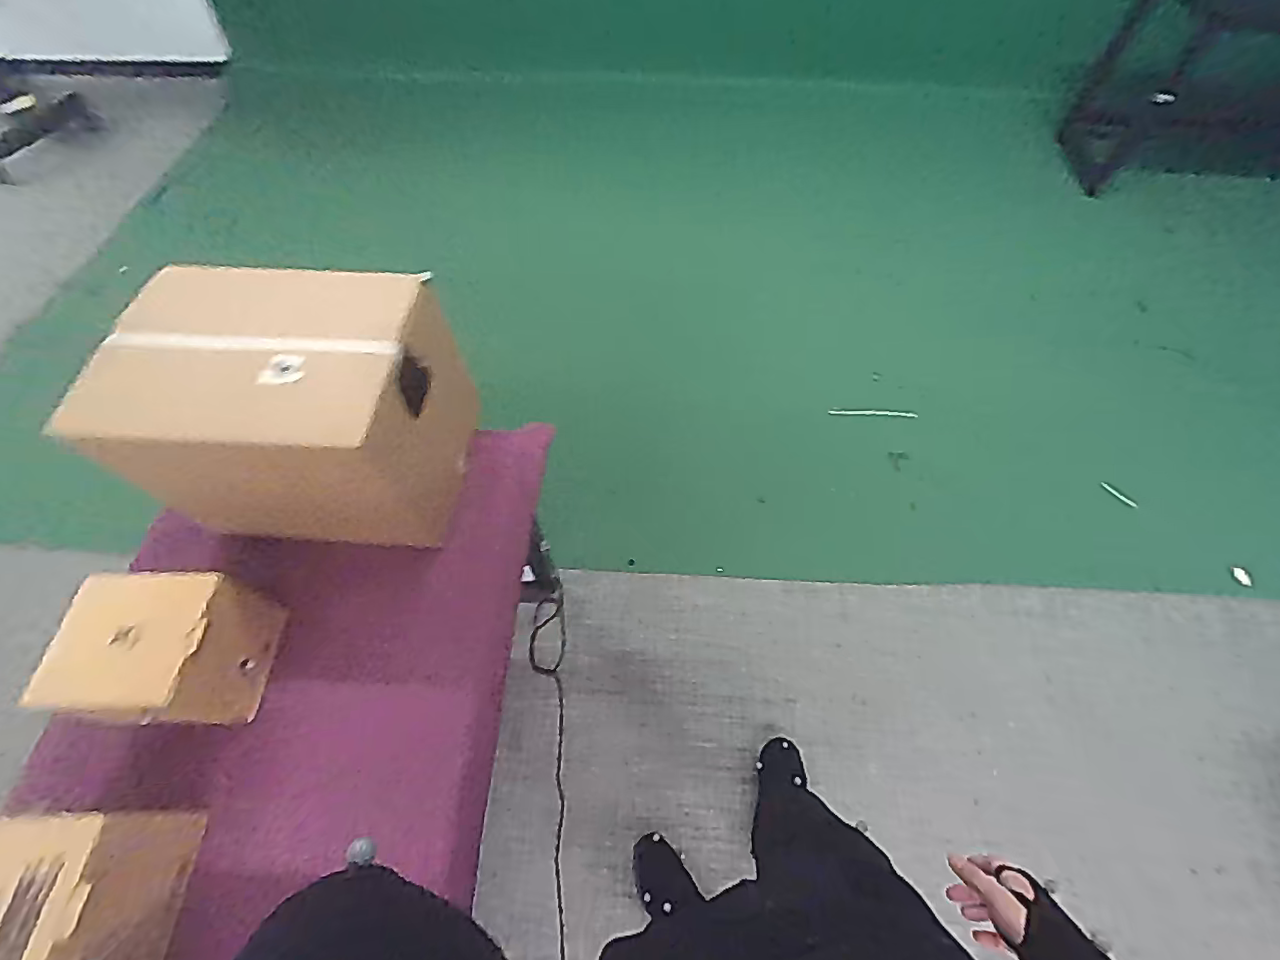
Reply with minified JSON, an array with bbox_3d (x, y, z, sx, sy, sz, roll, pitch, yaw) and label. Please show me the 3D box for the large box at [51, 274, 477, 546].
[{"bbox_3d":[-0.519,-0.097,0.859,0.408,0.320,0.320,2,61,1],"label":"large box"}]
